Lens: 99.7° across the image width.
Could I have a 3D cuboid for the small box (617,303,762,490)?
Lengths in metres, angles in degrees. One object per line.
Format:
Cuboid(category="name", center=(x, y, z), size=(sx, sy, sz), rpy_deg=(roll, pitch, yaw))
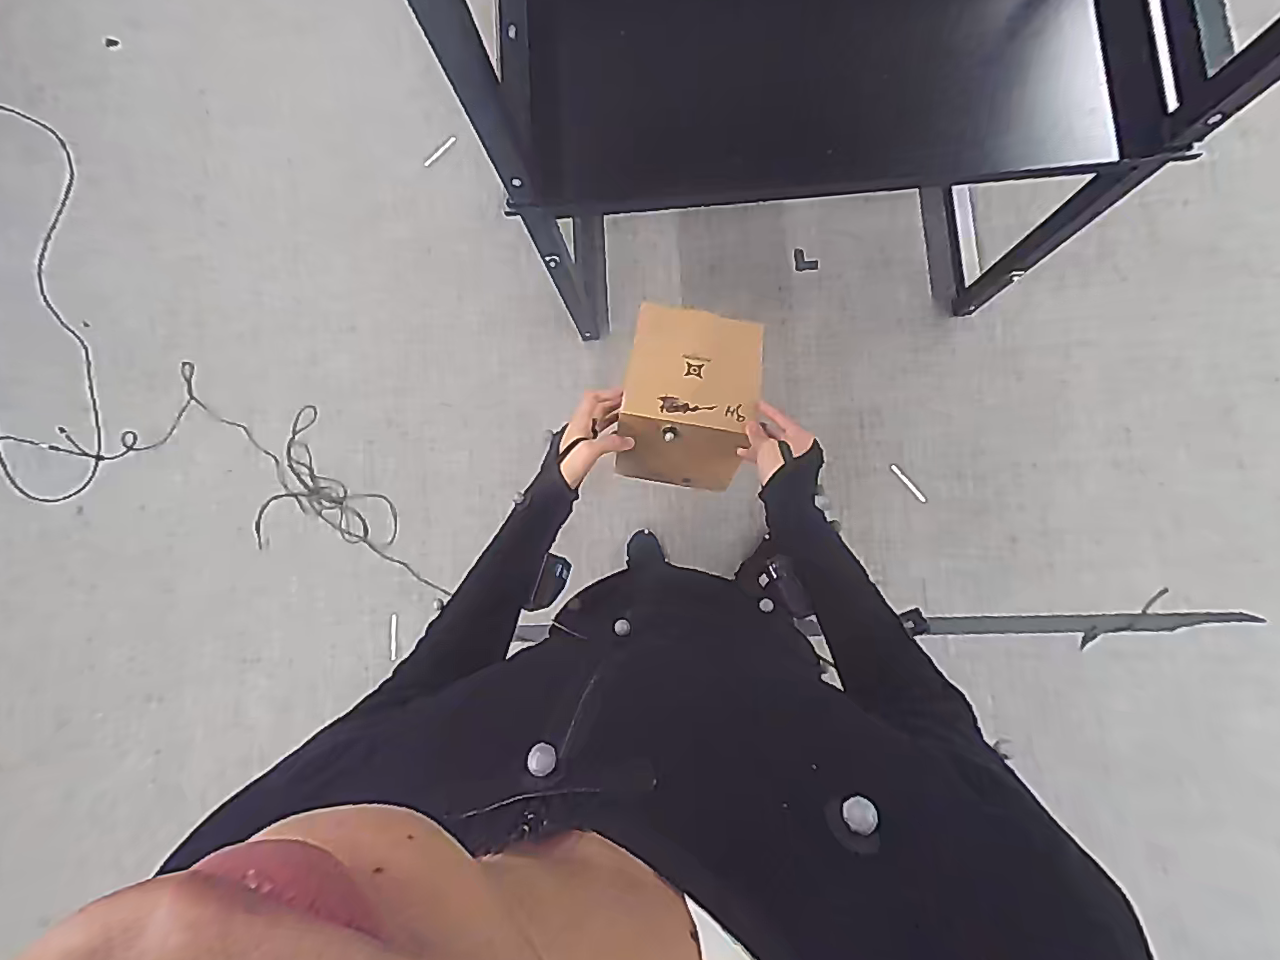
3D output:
Cuboid(category="small box", center=(0.062, -0.108, 0.745), size=(0.168, 0.176, 0.179), rpy_deg=(9, 65, 0))
